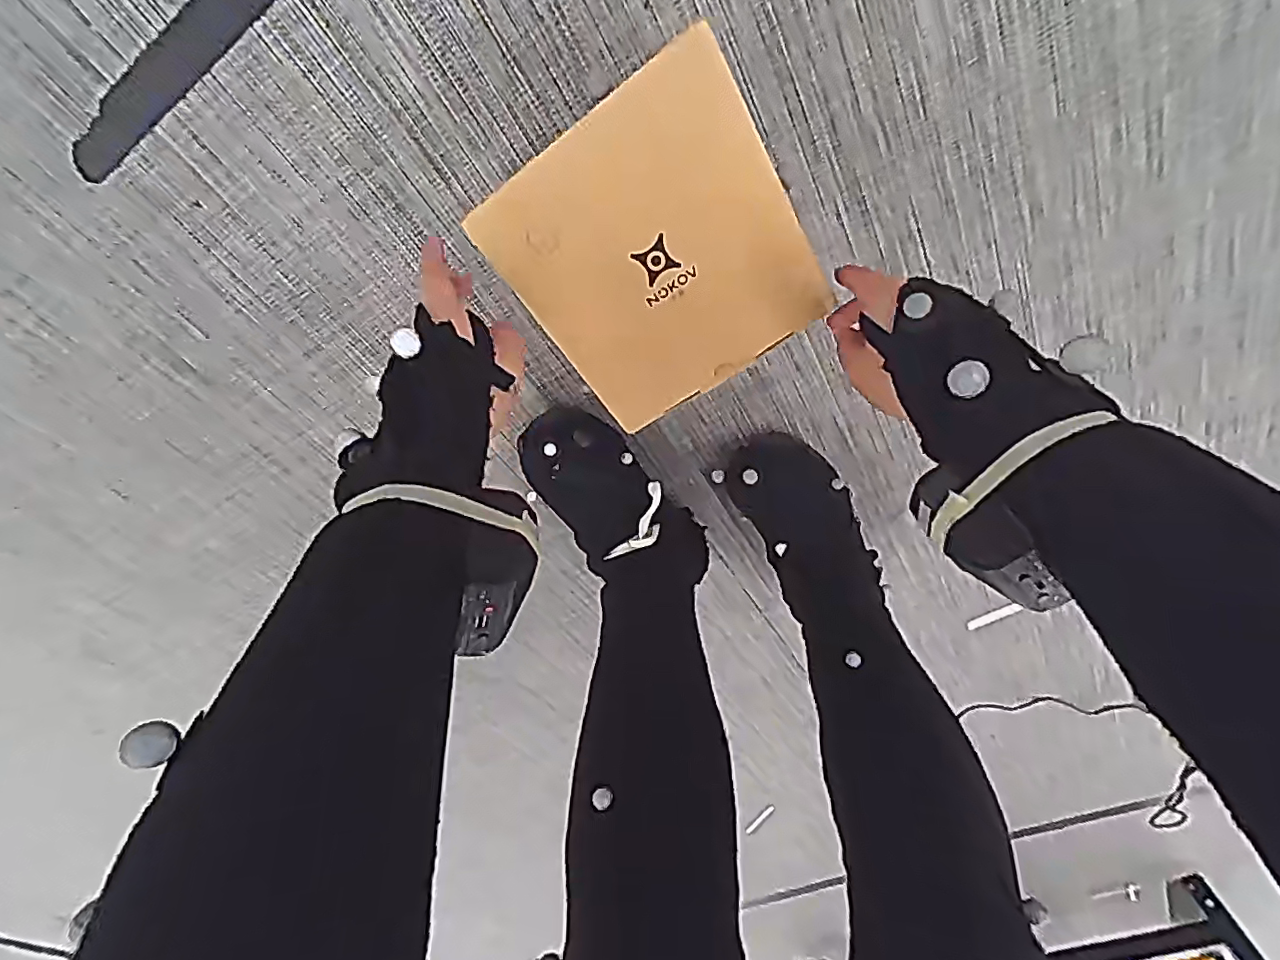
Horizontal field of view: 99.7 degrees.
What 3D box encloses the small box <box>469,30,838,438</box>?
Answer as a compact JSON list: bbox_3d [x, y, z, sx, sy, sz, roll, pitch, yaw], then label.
[{"bbox_3d":[0.009,-0.170,0.392,0.168,0.176,0.179,-30,122,17],"label":"small box"}]
